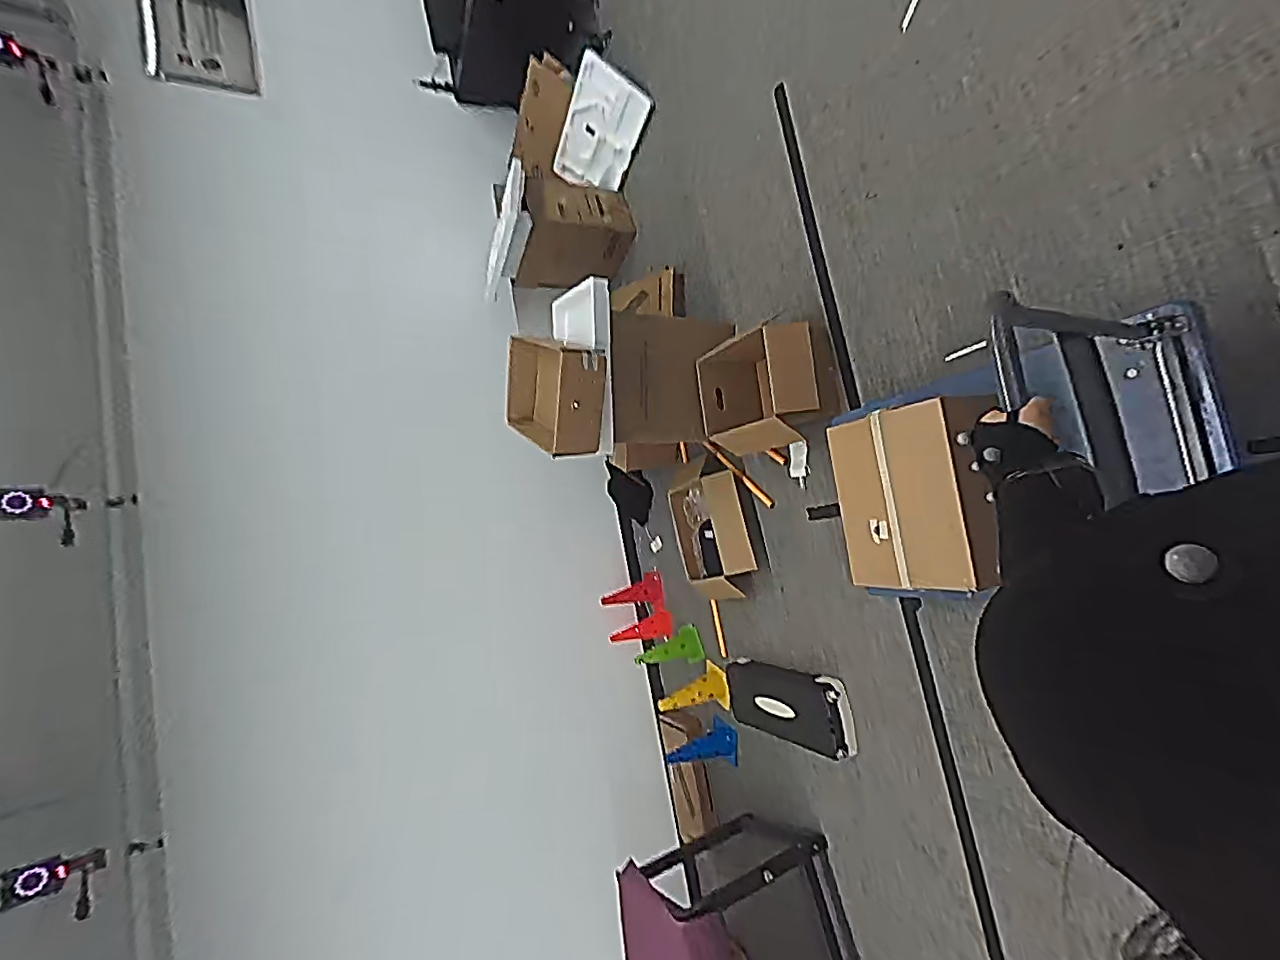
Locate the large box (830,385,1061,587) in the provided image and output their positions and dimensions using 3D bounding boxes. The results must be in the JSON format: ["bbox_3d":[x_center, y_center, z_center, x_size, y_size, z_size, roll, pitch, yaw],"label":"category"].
[{"bbox_3d":[0.708,0.017,1.276,0.320,0.320,0.408,-17,82,63],"label":"large box"}]
